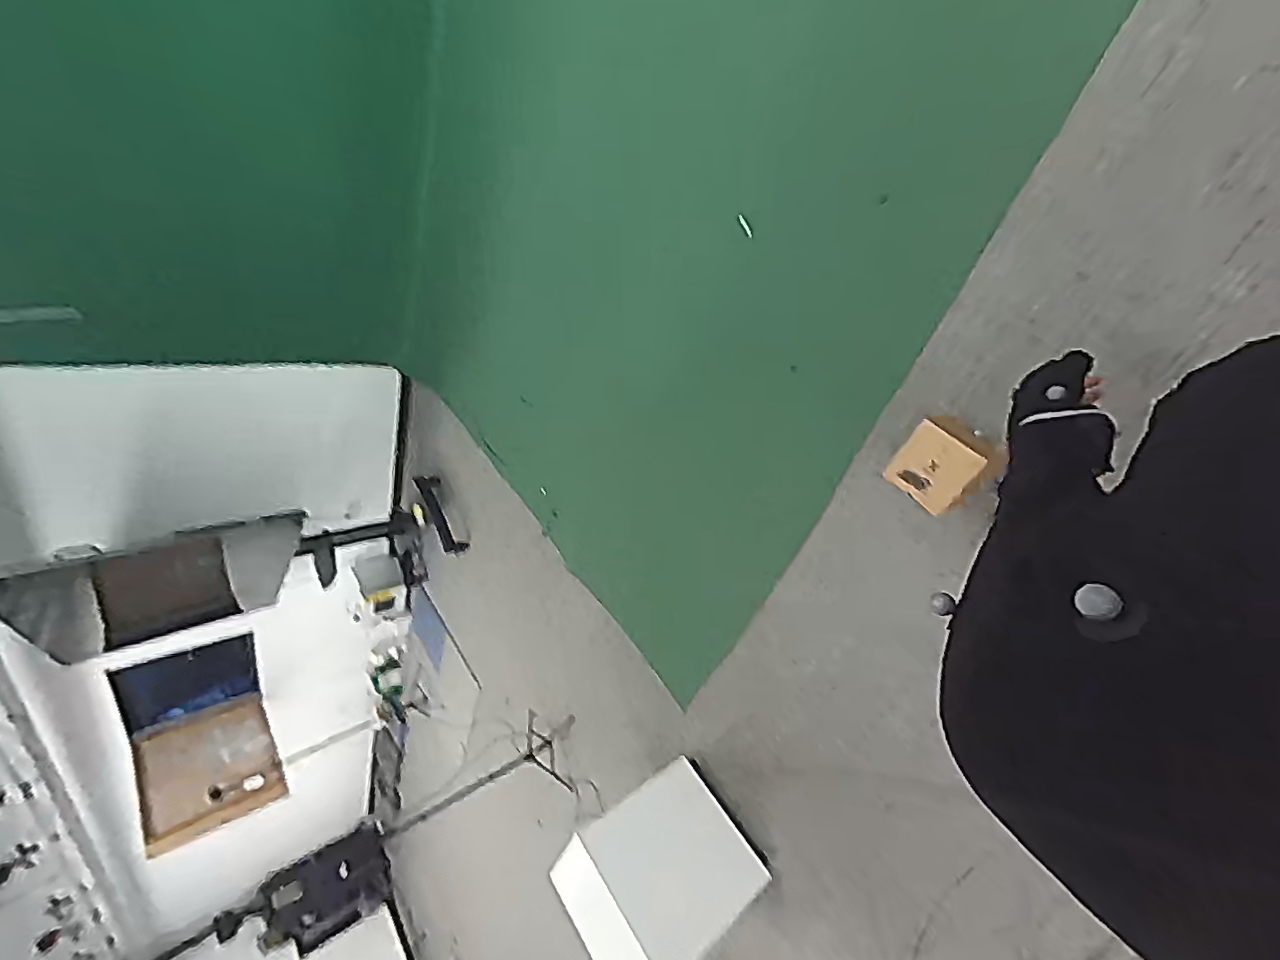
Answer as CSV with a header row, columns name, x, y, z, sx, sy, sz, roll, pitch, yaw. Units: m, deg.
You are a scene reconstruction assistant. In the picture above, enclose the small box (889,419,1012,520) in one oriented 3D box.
name,x,y,z,sx,sy,sz,roll,pitch,yaw
small box,0.752,-0.031,1.306,0.168,0.176,0.179,47,128,31
